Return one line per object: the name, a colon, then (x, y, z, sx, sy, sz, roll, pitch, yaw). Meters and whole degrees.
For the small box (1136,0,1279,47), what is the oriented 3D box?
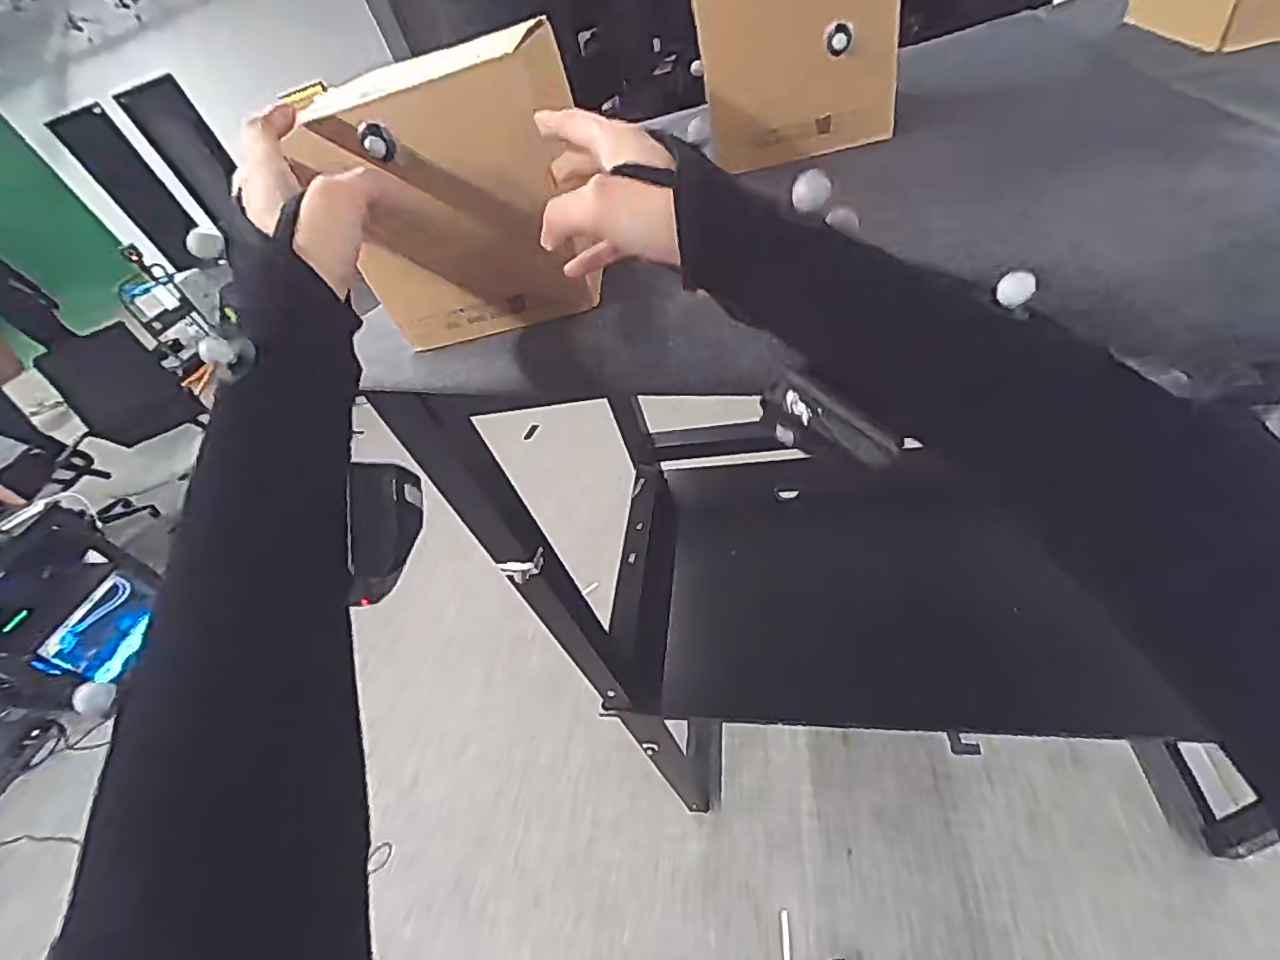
small box: (0.541, -0.467, 0.417, 0.168, 0.176, 0.179, -5, 46, 17)

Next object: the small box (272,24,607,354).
small box: (-0.129, -0.227, 0.432, 0.168, 0.176, 0.179, -10, 44, 11)

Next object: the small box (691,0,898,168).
small box: (0.151, -0.426, 0.525, 0.168, 0.176, 0.179, -3, 47, 17)
